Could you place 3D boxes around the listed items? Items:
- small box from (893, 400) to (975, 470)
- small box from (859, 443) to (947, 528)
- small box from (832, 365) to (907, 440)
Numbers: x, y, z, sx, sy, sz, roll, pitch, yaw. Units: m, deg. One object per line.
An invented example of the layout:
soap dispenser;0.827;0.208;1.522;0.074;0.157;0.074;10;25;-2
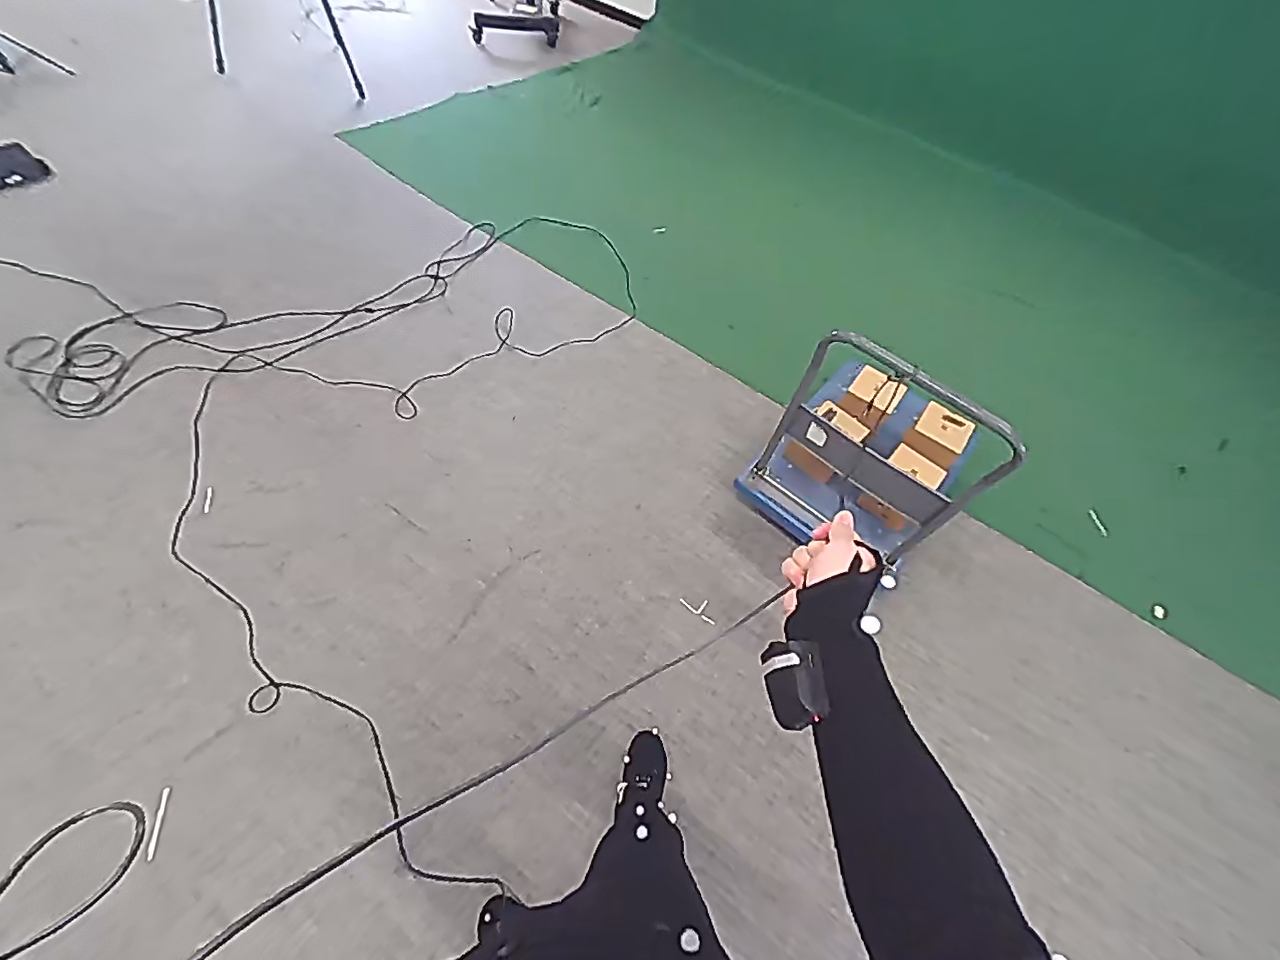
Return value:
small box;1.019;-0.137;1.884;0.168;0.176;0.179;35;59;16
small box;0.844;0.020;1.752;0.168;0.176;0.179;39;60;18
small box;0.818;-0.275;1.949;0.168;0.176;0.179;35;58;15
